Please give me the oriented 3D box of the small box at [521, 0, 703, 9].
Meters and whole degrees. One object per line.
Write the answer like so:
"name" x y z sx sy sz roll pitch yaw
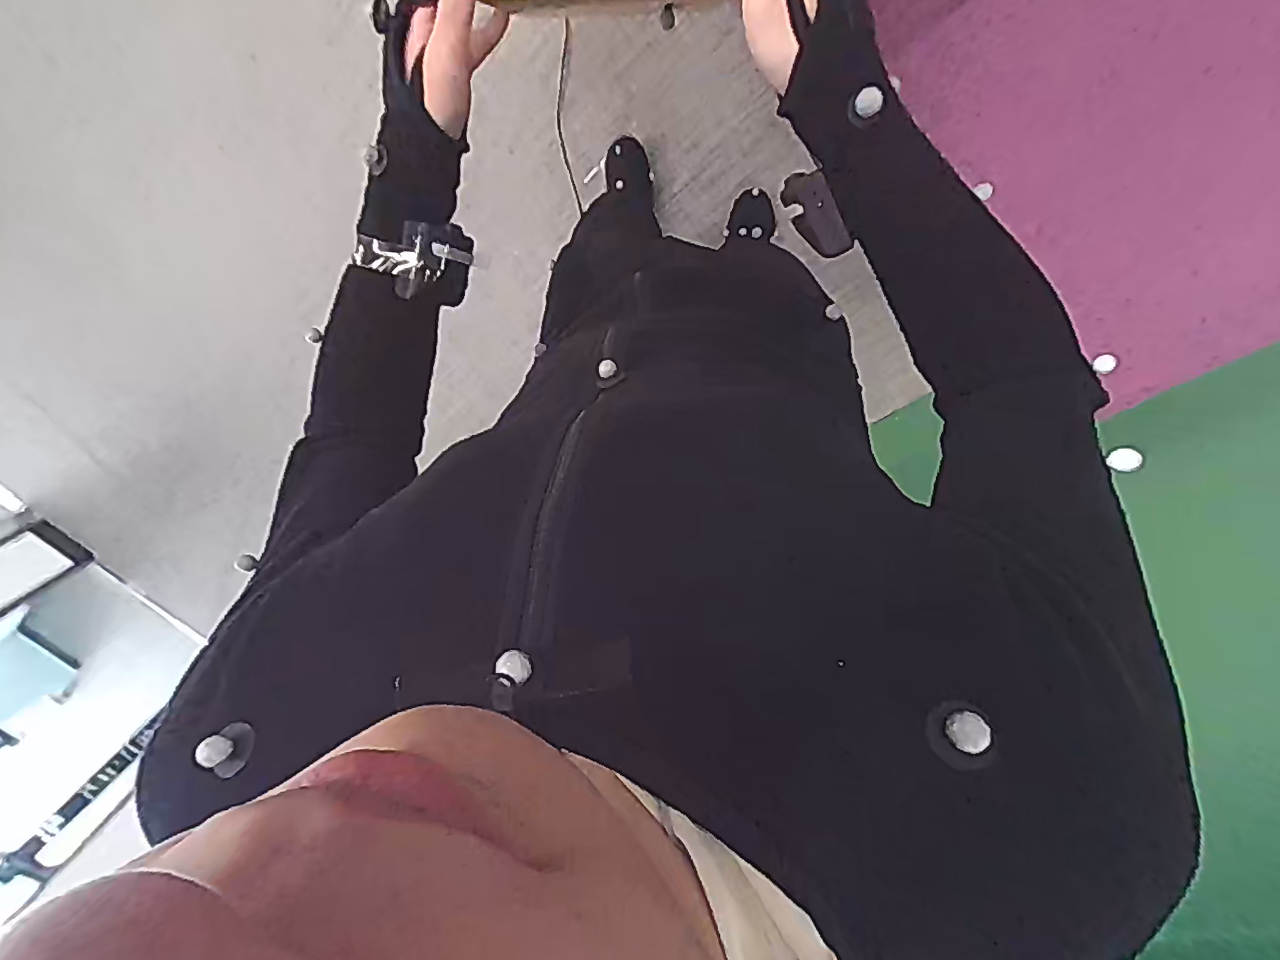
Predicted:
"small box" -0.021 -0.426 0.352 0.179 0.176 0.168 2 126 3
